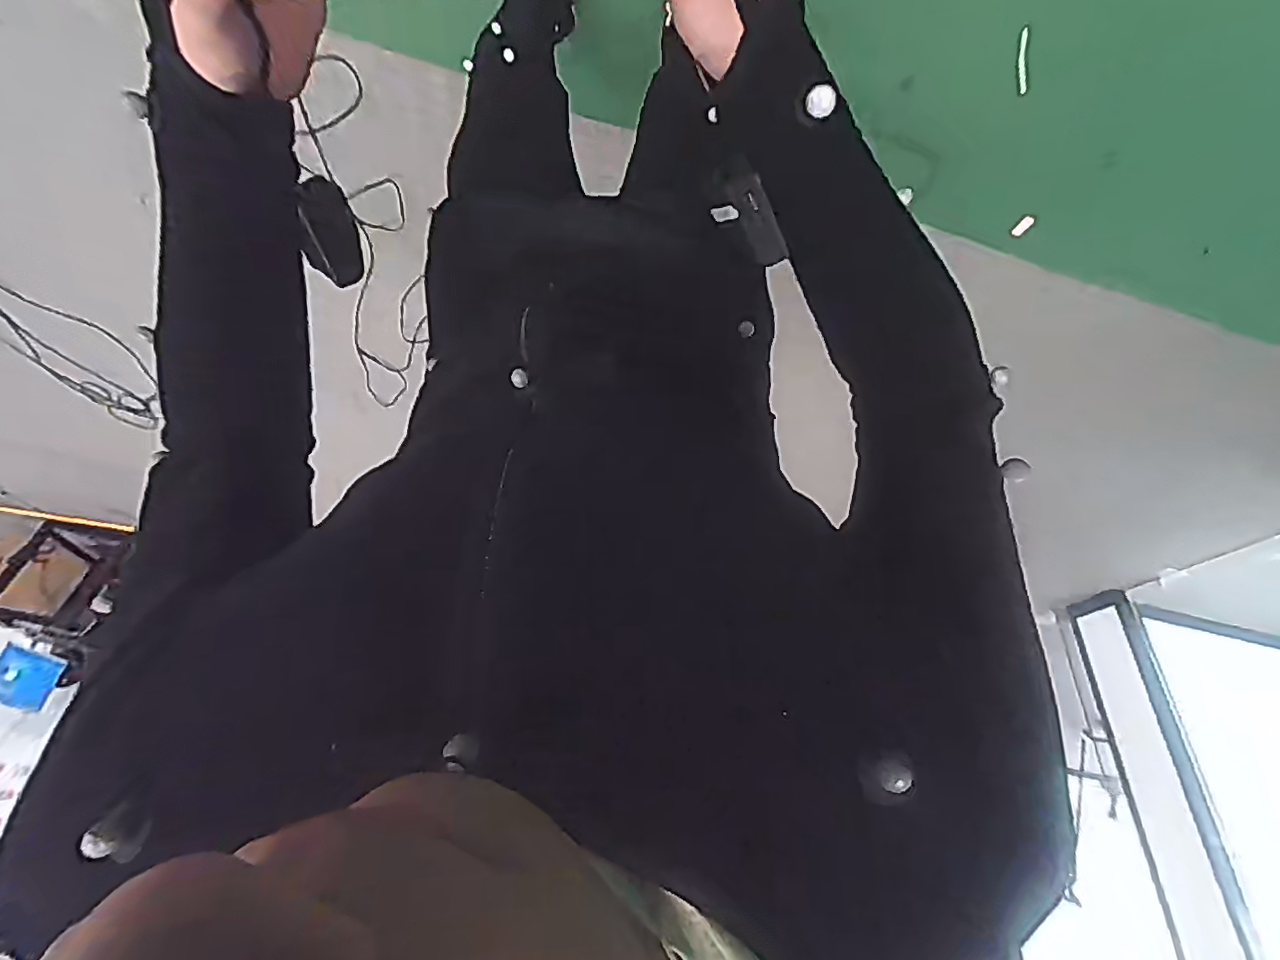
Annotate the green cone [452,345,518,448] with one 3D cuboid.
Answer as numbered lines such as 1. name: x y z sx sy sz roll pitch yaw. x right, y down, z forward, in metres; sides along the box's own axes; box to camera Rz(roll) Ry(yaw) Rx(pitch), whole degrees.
1. green cone: -0.576 -0.268 1.903 0.202 0.368 0.200 15 146 -7
